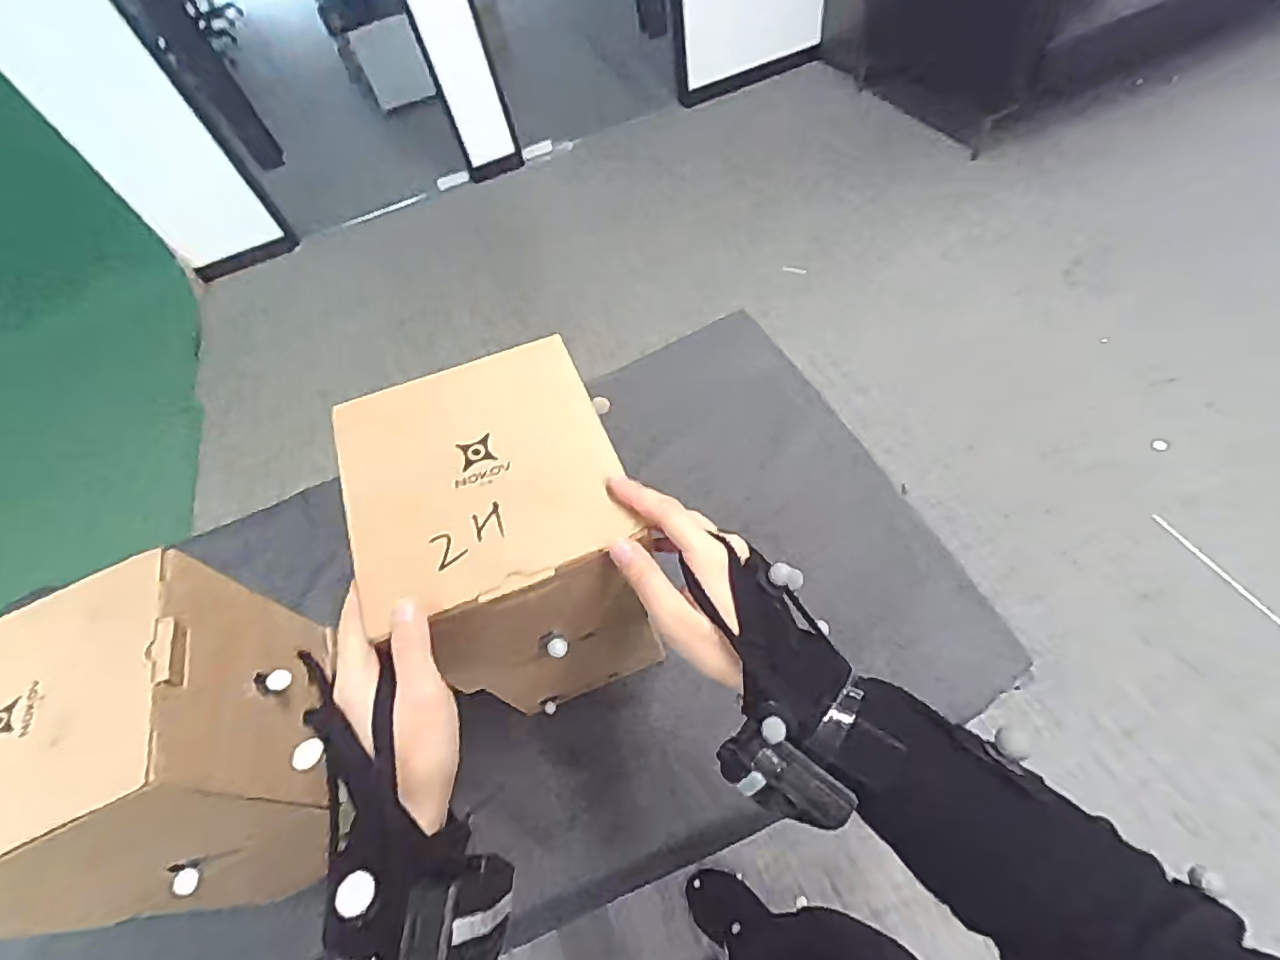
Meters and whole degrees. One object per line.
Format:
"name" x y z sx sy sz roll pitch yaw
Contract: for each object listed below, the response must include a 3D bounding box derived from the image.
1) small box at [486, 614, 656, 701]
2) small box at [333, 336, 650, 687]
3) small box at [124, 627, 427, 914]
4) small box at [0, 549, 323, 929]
"small box" -0.092 0.120 0.583 0.168 0.176 0.179 -21 54 -4
"small box" -0.099 0.030 0.405 0.168 0.176 0.179 -20 61 -9
"small box" -0.328 0.275 0.523 0.179 0.176 0.168 -26 54 -7
"small box" -0.357 0.184 0.389 0.179 0.176 0.168 -26 55 -8
